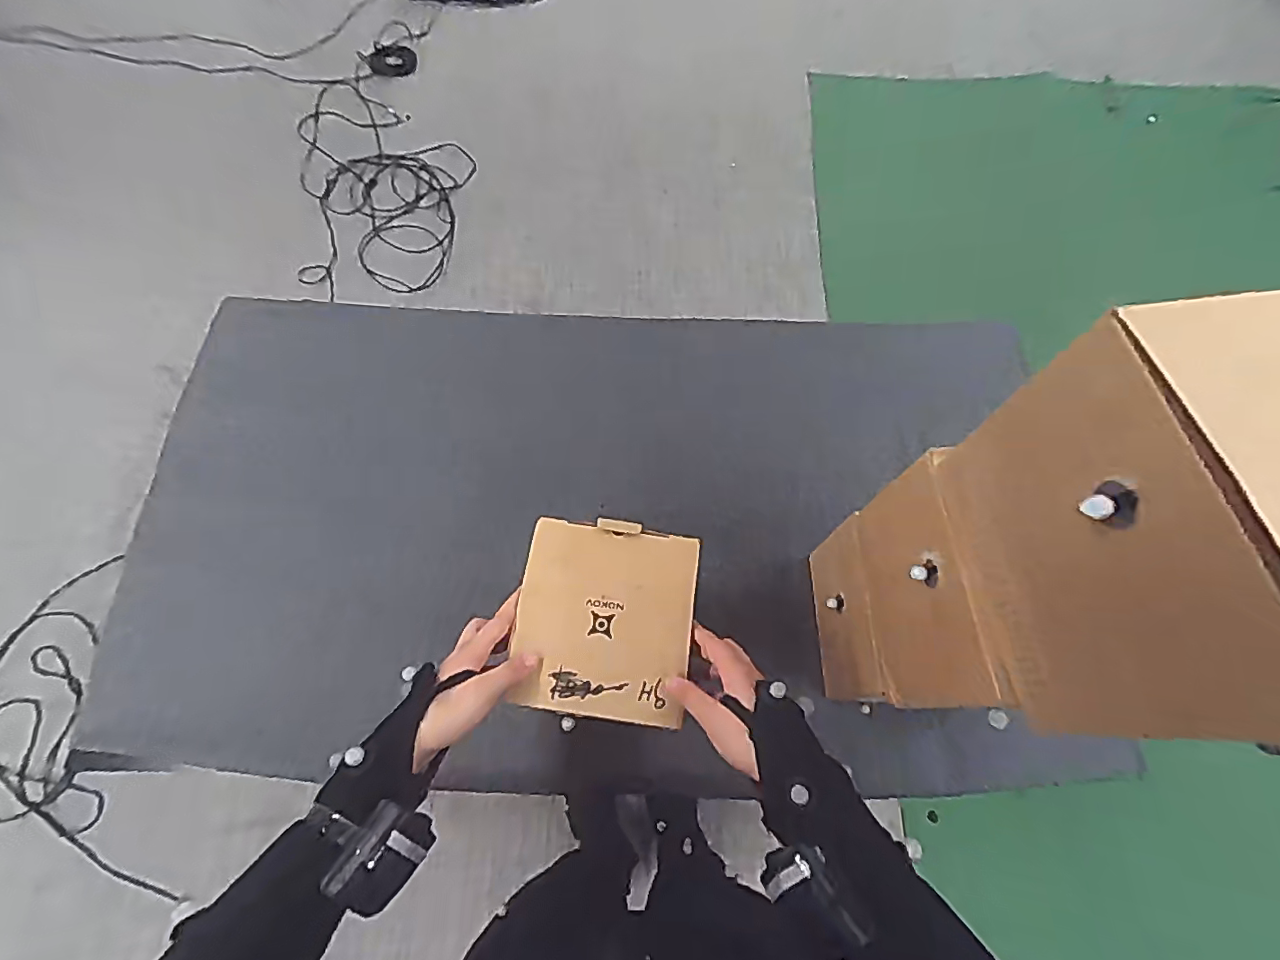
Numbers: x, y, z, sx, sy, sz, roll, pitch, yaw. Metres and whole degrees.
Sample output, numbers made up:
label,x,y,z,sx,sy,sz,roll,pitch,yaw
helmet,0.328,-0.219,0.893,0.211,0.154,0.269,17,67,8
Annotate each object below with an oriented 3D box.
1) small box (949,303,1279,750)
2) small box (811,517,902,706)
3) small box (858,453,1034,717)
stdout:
label,x,y,z,sx,sy,sz,roll,pitch,yaw
small box,0.295,0.033,0.273,0.168,0.176,0.179,-6,67,-1
small box,0.294,0.149,0.580,0.168,0.176,0.179,0,66,0
small box,0.293,0.089,0.429,0.168,0.176,0.179,-3,67,0
